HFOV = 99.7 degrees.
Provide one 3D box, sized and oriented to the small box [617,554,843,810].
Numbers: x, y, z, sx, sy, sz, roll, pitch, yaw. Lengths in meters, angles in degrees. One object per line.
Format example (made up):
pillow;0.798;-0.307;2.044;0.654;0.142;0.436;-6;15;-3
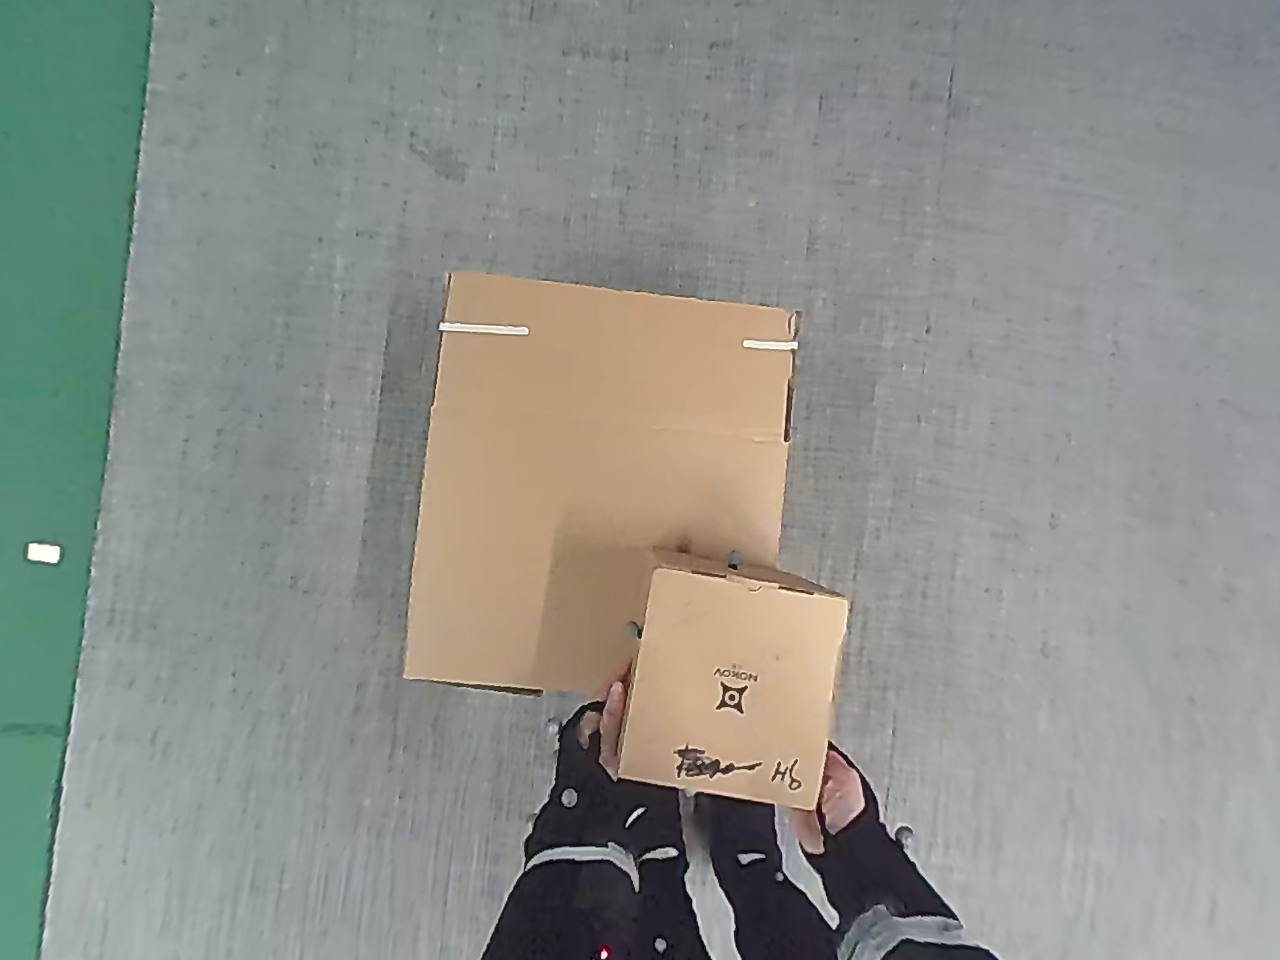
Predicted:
small box;0.072;0.173;0.520;0.168;0.176;0.179;10;87;-1
